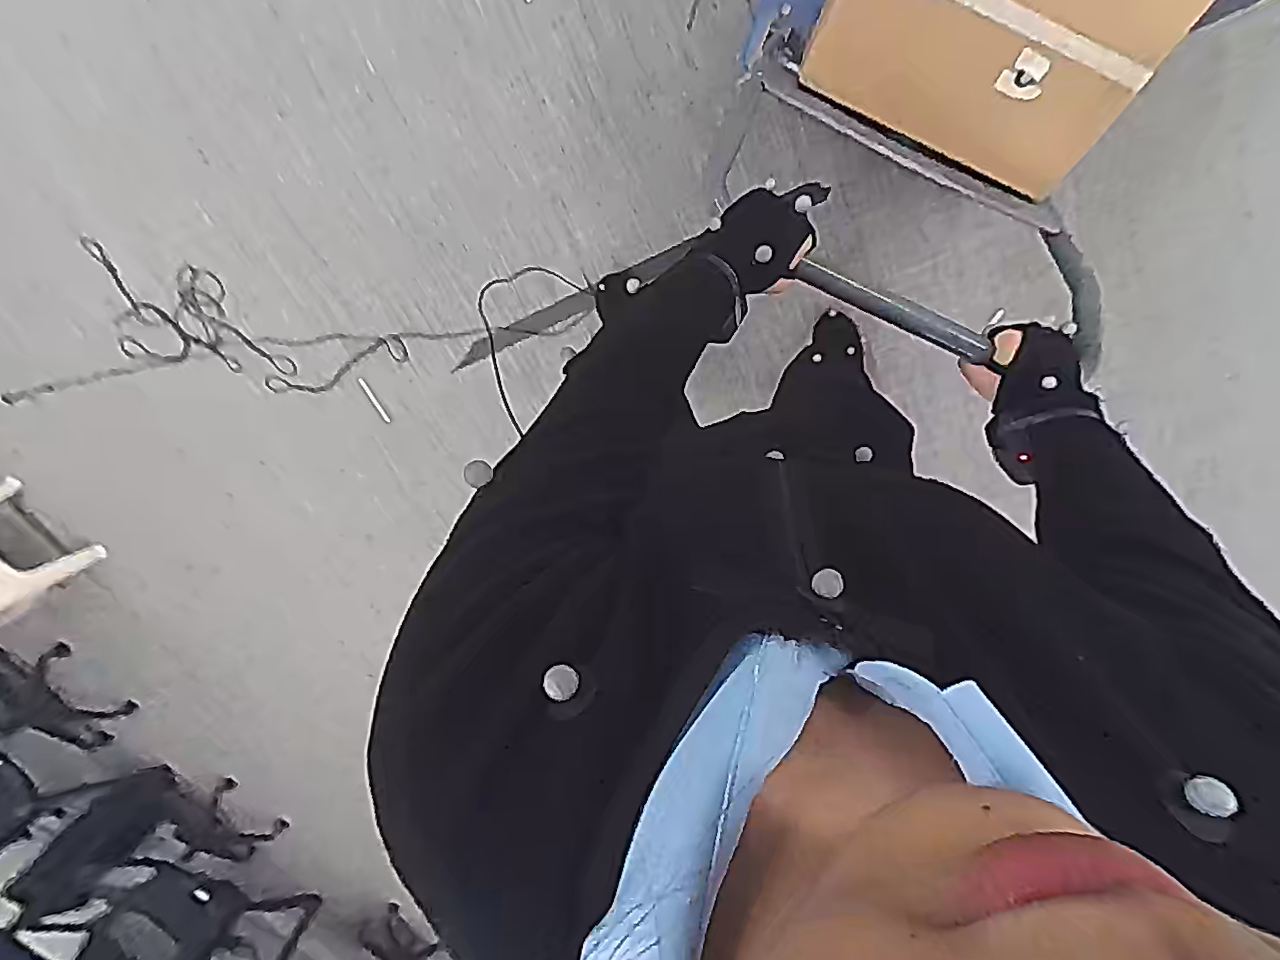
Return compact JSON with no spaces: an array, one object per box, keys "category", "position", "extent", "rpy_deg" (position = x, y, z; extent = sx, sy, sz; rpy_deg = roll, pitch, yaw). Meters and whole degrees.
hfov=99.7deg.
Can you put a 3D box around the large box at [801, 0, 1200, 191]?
[{"category":"large box","position":[0.489,-0.699,0.786],"extent":[0.408,0.320,0.320],"rpy_deg":[23,137,-5]}]
